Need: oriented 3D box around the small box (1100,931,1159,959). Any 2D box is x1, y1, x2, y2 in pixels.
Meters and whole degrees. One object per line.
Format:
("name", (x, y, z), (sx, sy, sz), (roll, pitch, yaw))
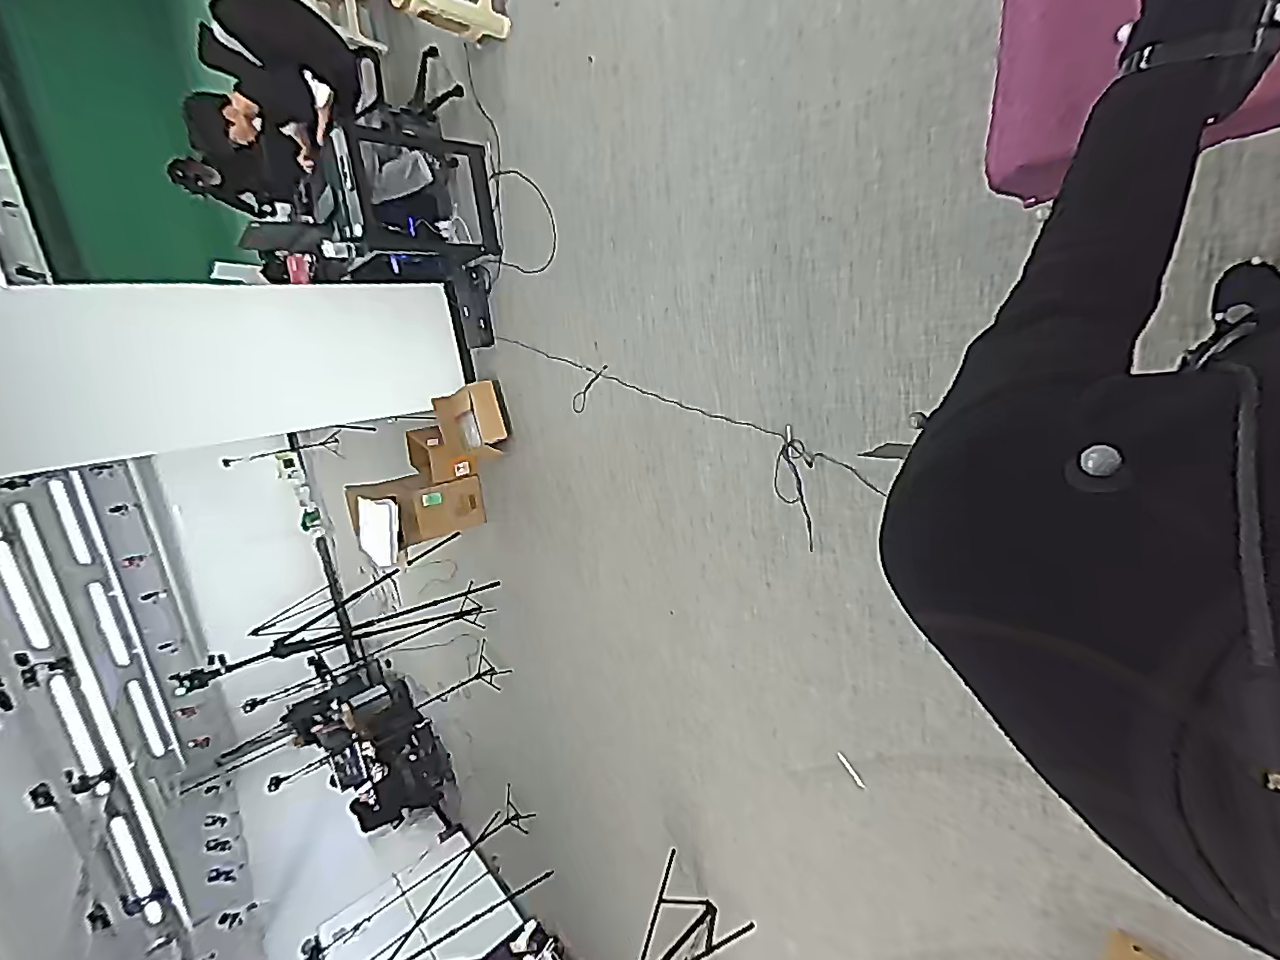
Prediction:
("small box", (1.358, 1.407, 1.478), (0.168, 0.176, 0.179), (14, 116, 48))
